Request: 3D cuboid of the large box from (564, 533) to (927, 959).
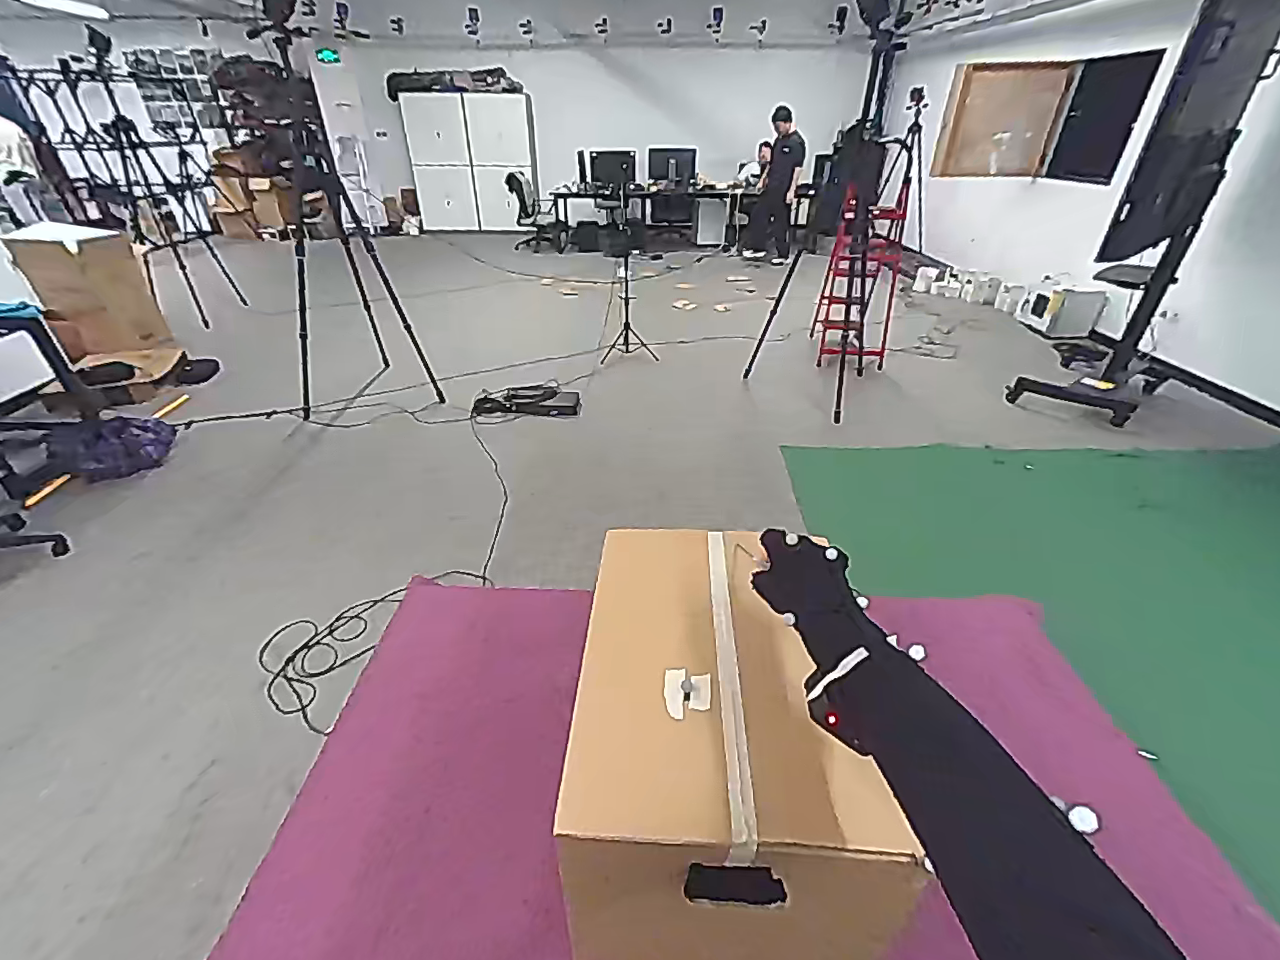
[{"bbox_3d":[0.092,0.318,0.697,0.320,0.320,0.408,2,34,3],"label":"large box"}]
